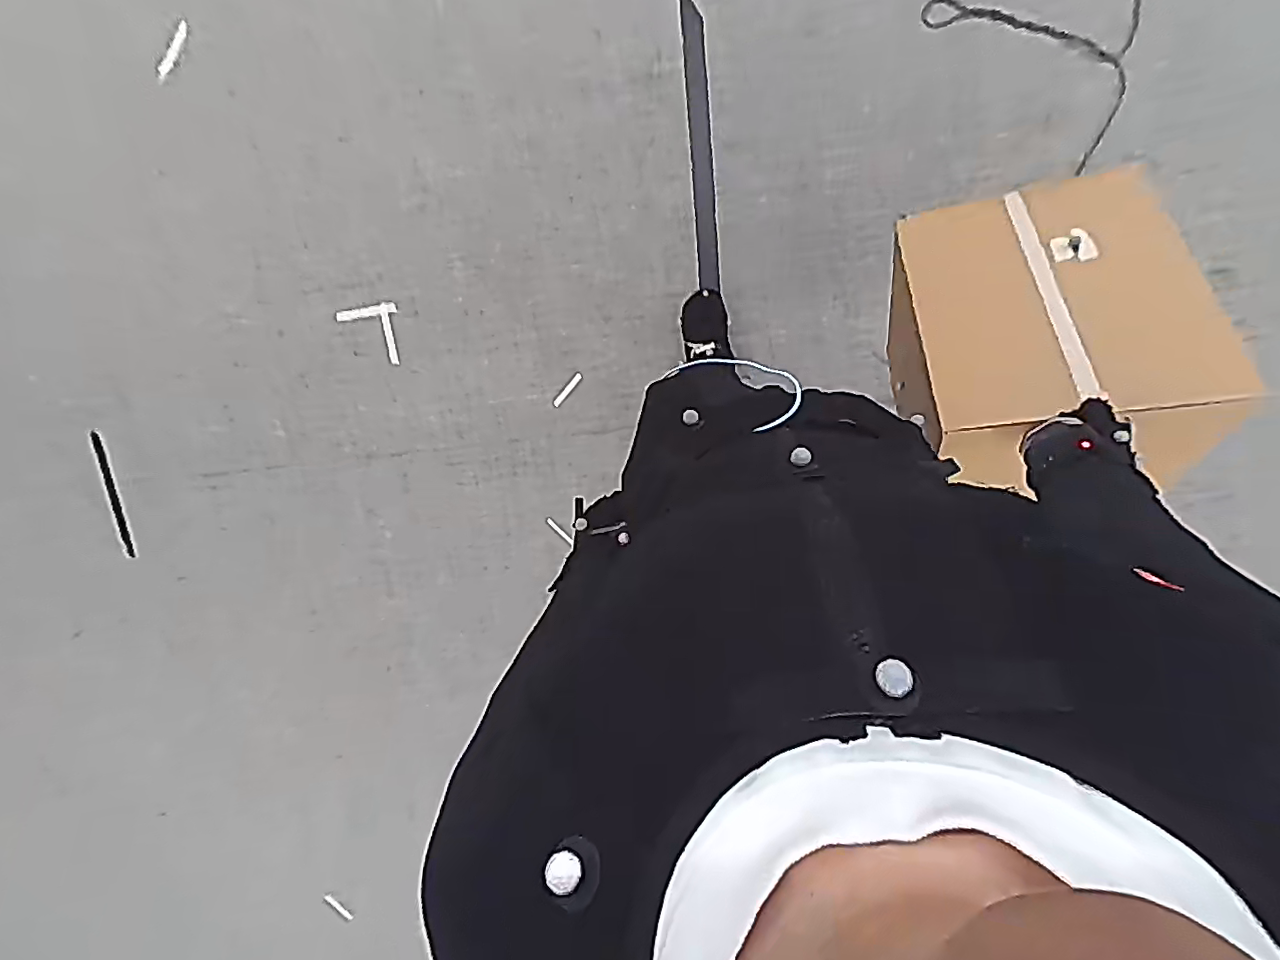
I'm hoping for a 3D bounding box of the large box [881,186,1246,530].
[{"bbox_3d":[0.584,-0.172,0.859,0.320,0.320,0.408,-5,58,17],"label":"large box"}]
